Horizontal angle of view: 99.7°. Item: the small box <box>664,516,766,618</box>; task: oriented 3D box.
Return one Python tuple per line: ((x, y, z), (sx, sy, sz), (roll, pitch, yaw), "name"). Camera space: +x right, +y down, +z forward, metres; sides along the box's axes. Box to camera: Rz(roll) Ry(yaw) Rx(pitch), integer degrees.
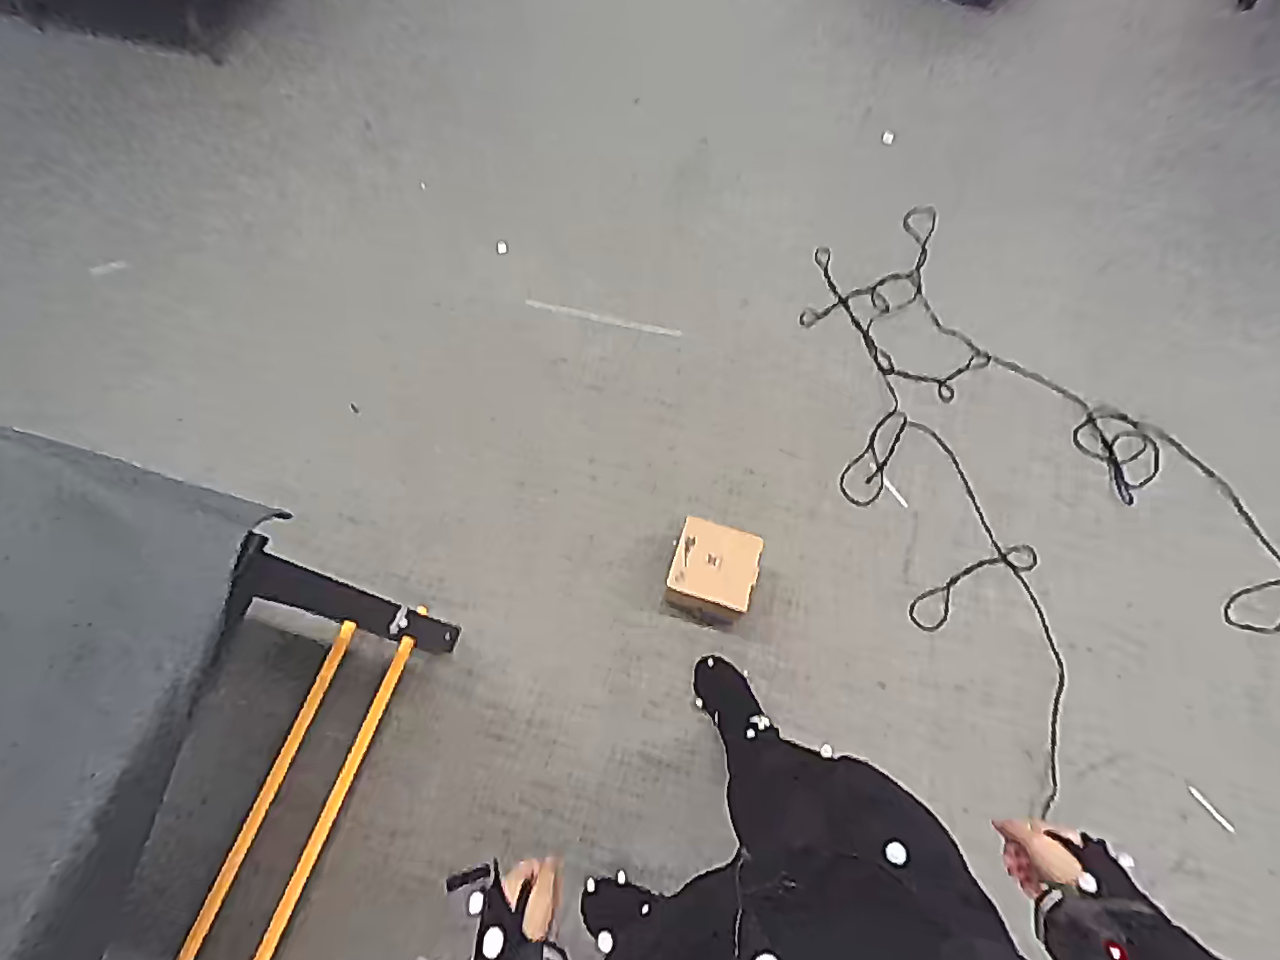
((0.161, 0.202, 1.211), (0.179, 0.176, 0.168), (18, 69, 7), "small box")
